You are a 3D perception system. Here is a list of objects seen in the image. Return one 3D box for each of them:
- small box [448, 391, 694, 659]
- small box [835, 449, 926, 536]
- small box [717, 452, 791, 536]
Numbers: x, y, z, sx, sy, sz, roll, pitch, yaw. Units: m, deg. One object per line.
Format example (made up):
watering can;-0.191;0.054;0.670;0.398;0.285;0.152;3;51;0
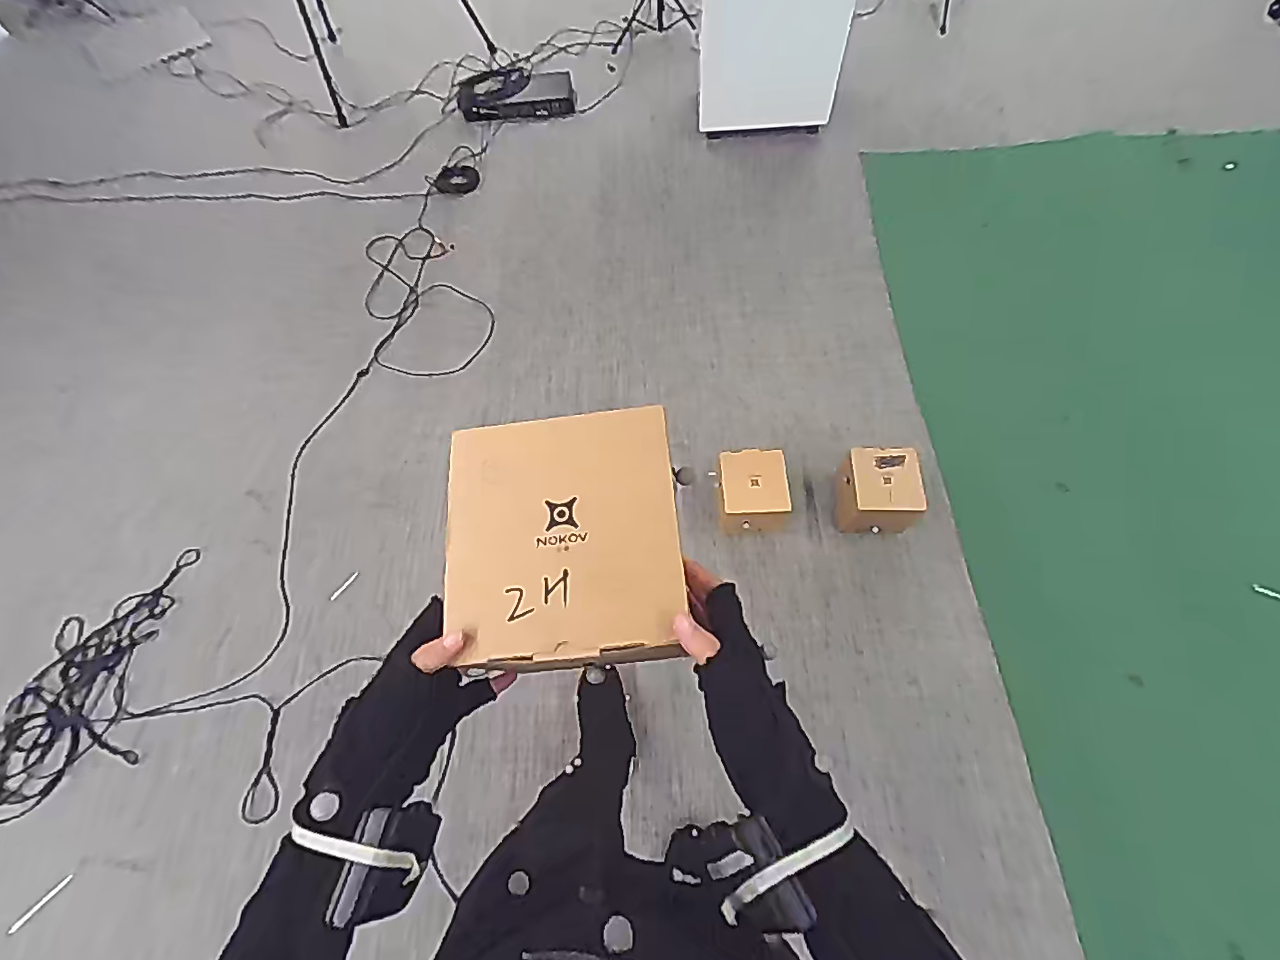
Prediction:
small box;-0.045;0.049;0.461;0.168;0.176;0.179;-7;67;4
small box;0.622;0.034;1.421;0.168;0.176;0.179;0;65;5
small box;0.297;0.043;1.442;0.168;0.176;0.179;-3;63;3
